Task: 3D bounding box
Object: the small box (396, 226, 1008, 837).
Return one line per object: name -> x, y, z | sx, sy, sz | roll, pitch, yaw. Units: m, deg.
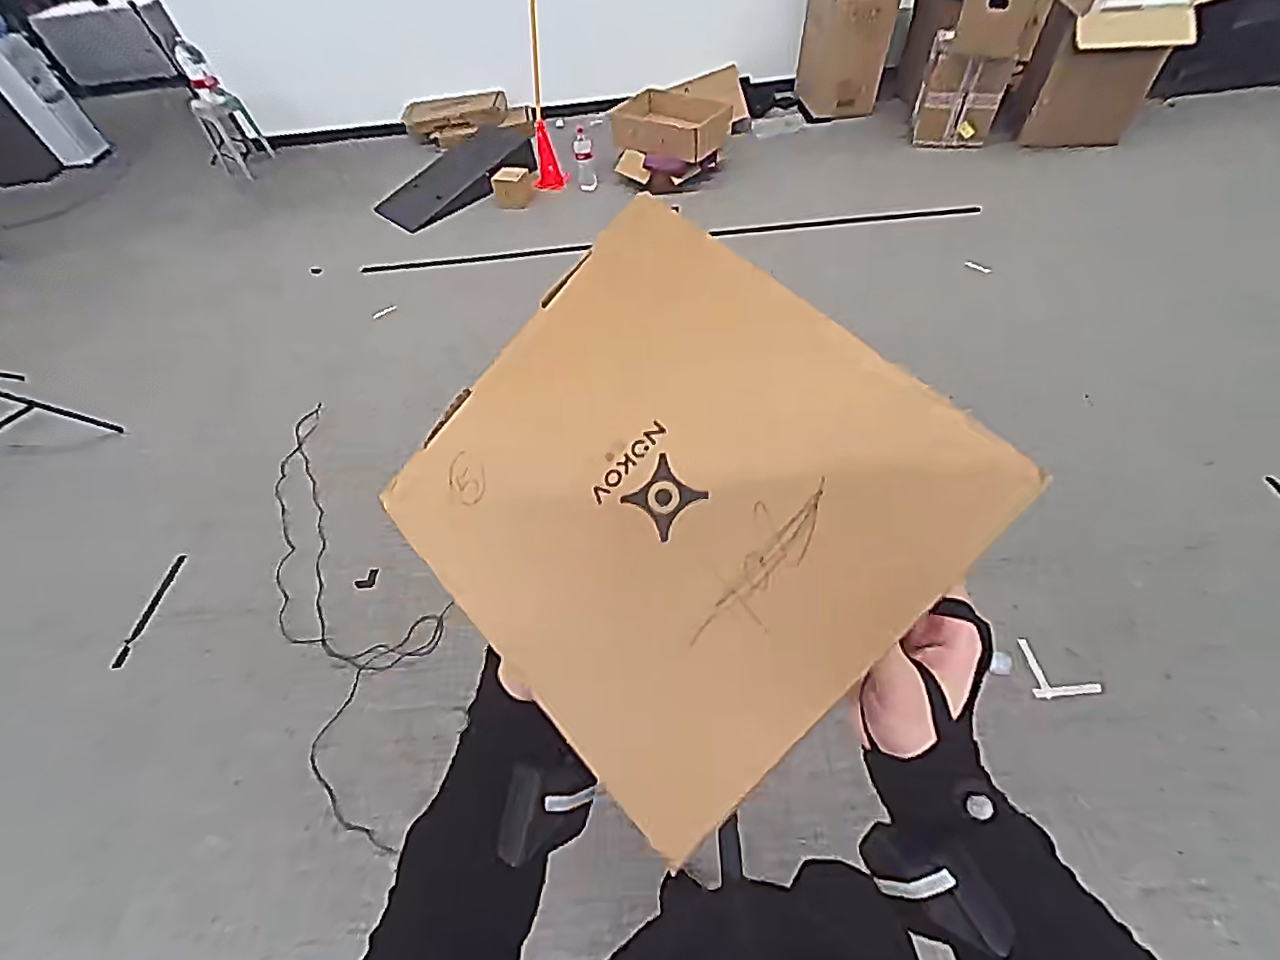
small box -> 0.027, 0.021, 0.278 | 0.179, 0.176, 0.168 | 43, 94, 18
